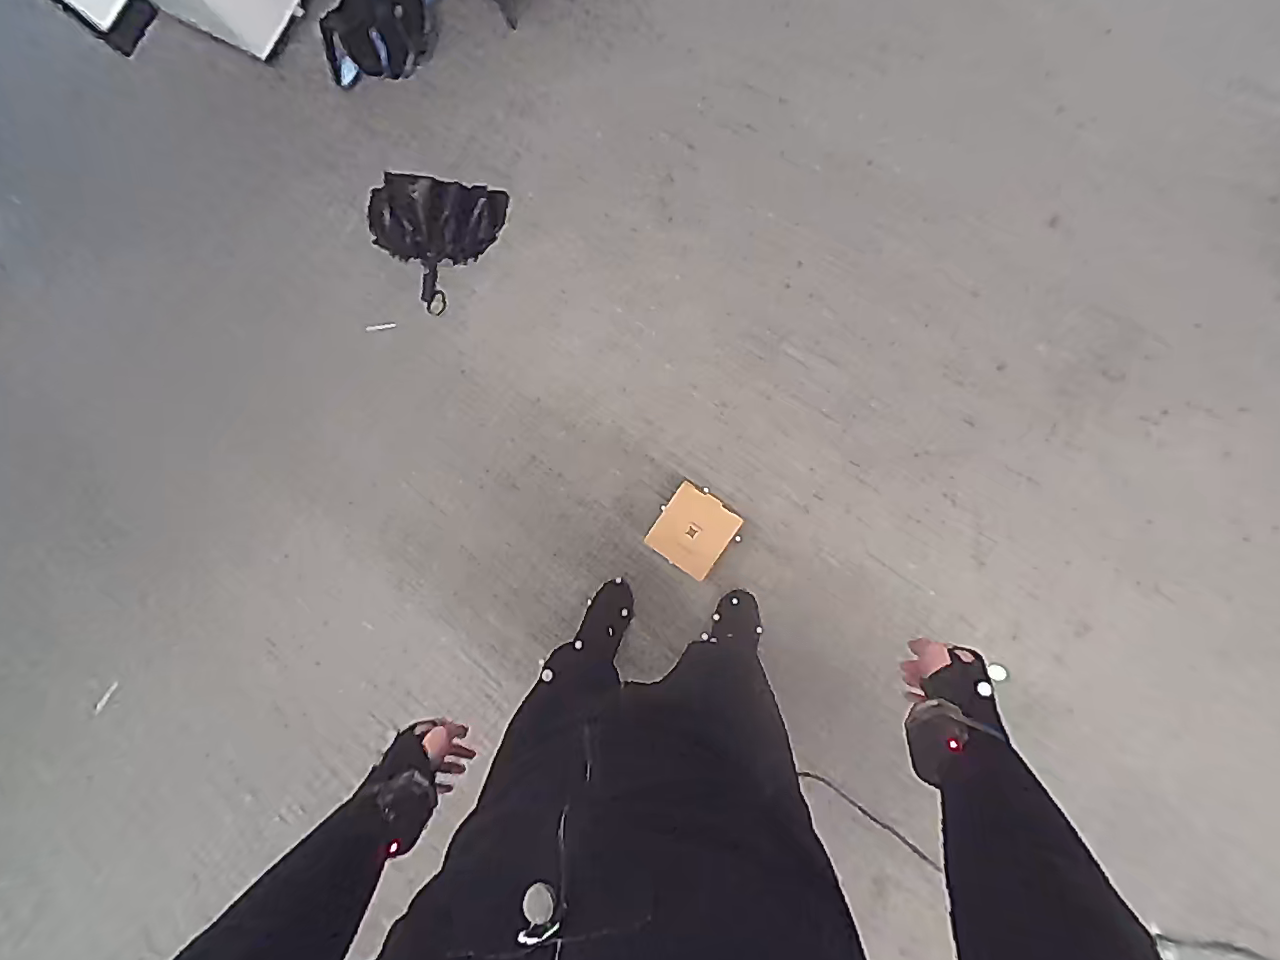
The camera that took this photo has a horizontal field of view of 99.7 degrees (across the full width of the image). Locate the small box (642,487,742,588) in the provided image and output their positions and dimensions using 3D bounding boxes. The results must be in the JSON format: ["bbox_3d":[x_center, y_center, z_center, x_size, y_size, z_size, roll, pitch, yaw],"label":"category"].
[{"bbox_3d":[0.130,0.138,1.312,0.168,0.176,0.179,35,92,13],"label":"small box"}]
